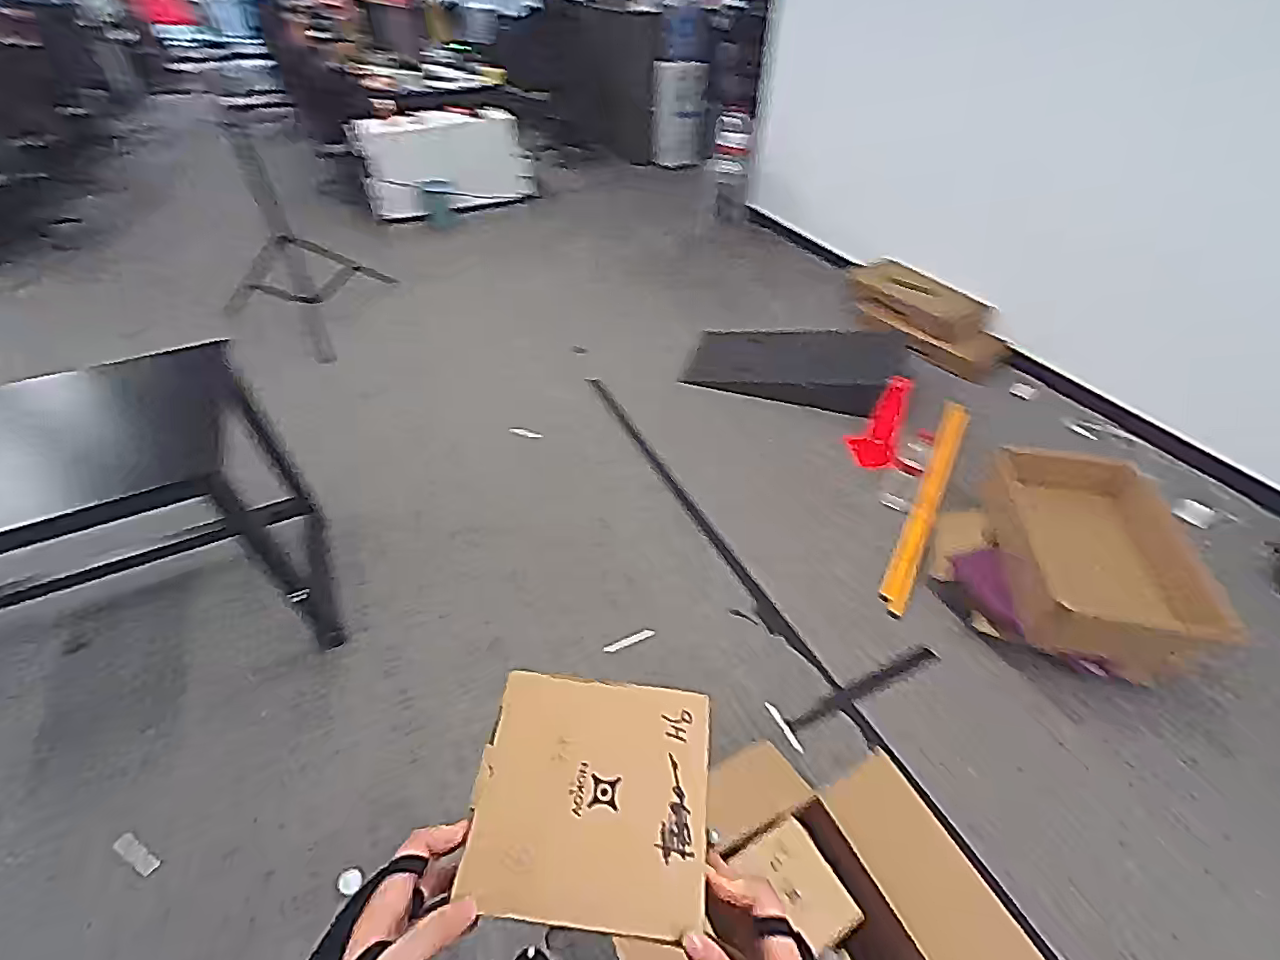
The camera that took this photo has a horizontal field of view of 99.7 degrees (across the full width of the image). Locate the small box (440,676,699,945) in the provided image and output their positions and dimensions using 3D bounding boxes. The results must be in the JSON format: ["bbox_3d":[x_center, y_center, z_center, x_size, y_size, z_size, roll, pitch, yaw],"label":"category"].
[{"bbox_3d":[-0.044,0.290,0.473,0.179,0.176,0.168,5,49,2],"label":"small box"}]
